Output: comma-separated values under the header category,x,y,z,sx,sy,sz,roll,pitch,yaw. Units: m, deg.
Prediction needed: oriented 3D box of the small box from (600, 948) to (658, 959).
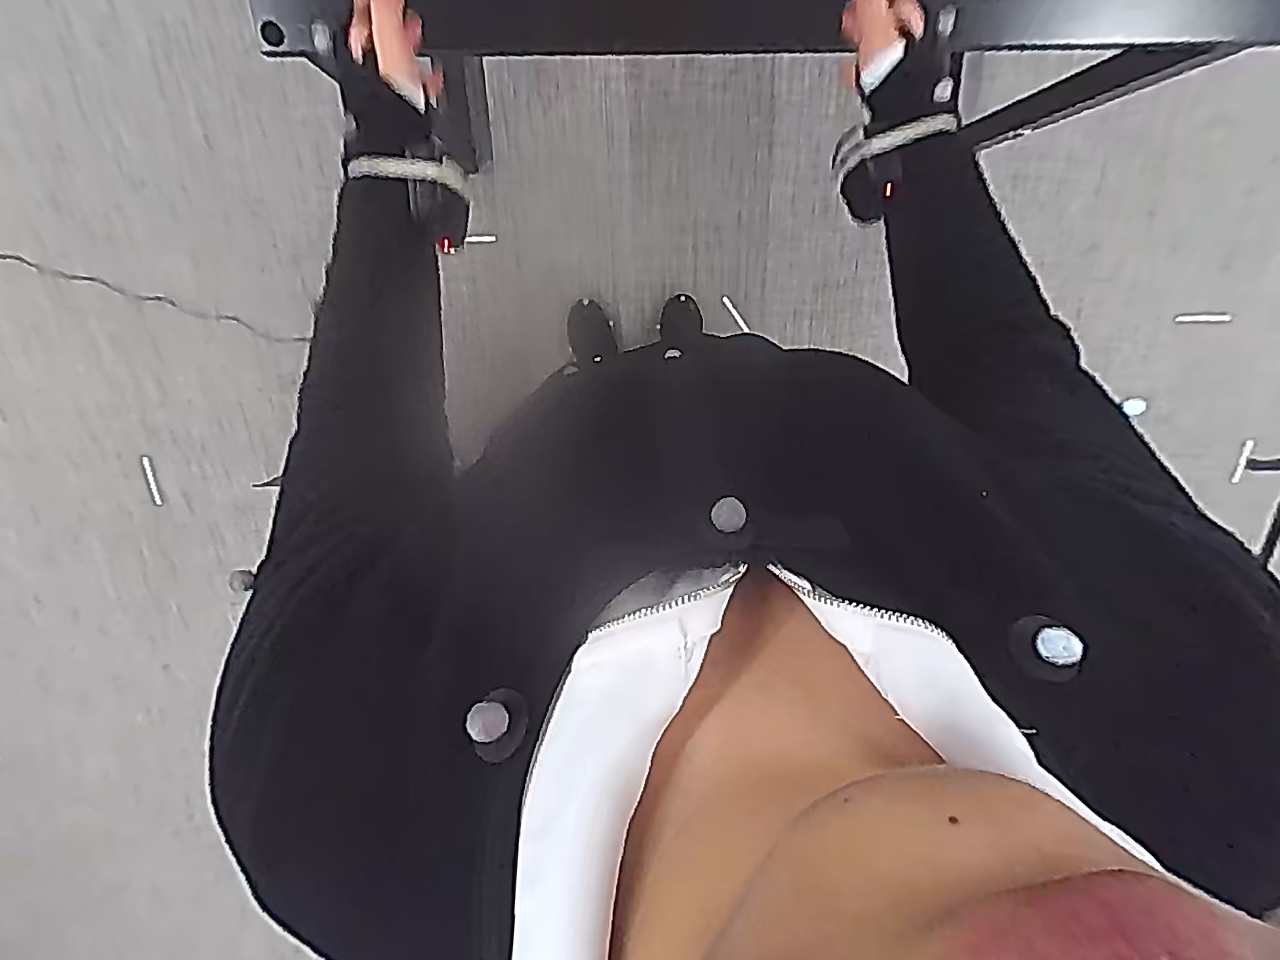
category,x,y,z,sx,sy,sz,roll,pitch,yaw
small box,-0.030,1.403,1.442,0.179,0.176,0.168,-9,106,1
